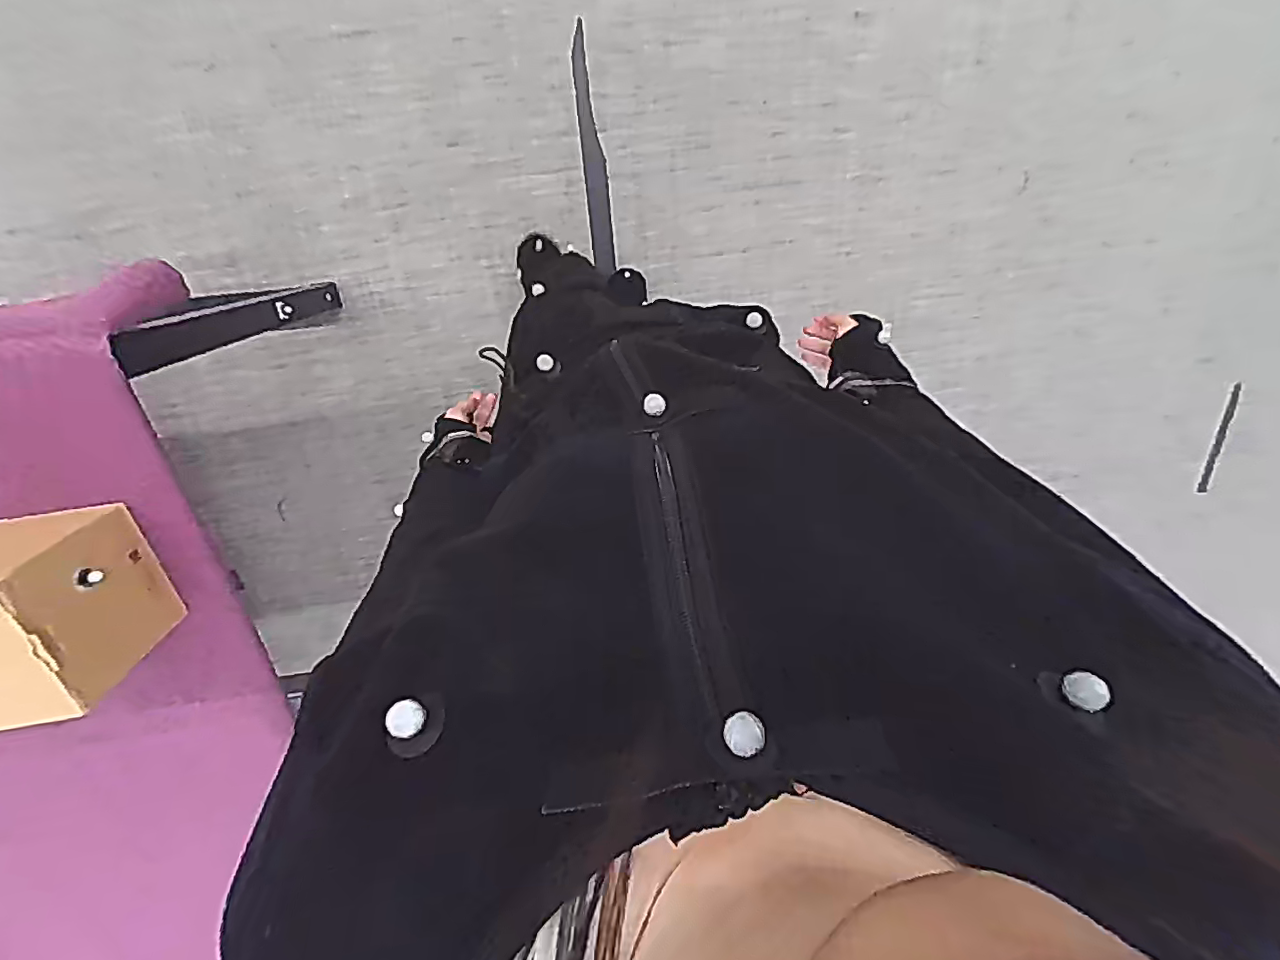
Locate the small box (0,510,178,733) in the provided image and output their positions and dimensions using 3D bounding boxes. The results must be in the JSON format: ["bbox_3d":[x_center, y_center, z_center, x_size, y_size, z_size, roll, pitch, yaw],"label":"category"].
[{"bbox_3d":[-0.658,0.147,0.584,0.179,0.176,0.168,-9,115,-3],"label":"small box"}]
